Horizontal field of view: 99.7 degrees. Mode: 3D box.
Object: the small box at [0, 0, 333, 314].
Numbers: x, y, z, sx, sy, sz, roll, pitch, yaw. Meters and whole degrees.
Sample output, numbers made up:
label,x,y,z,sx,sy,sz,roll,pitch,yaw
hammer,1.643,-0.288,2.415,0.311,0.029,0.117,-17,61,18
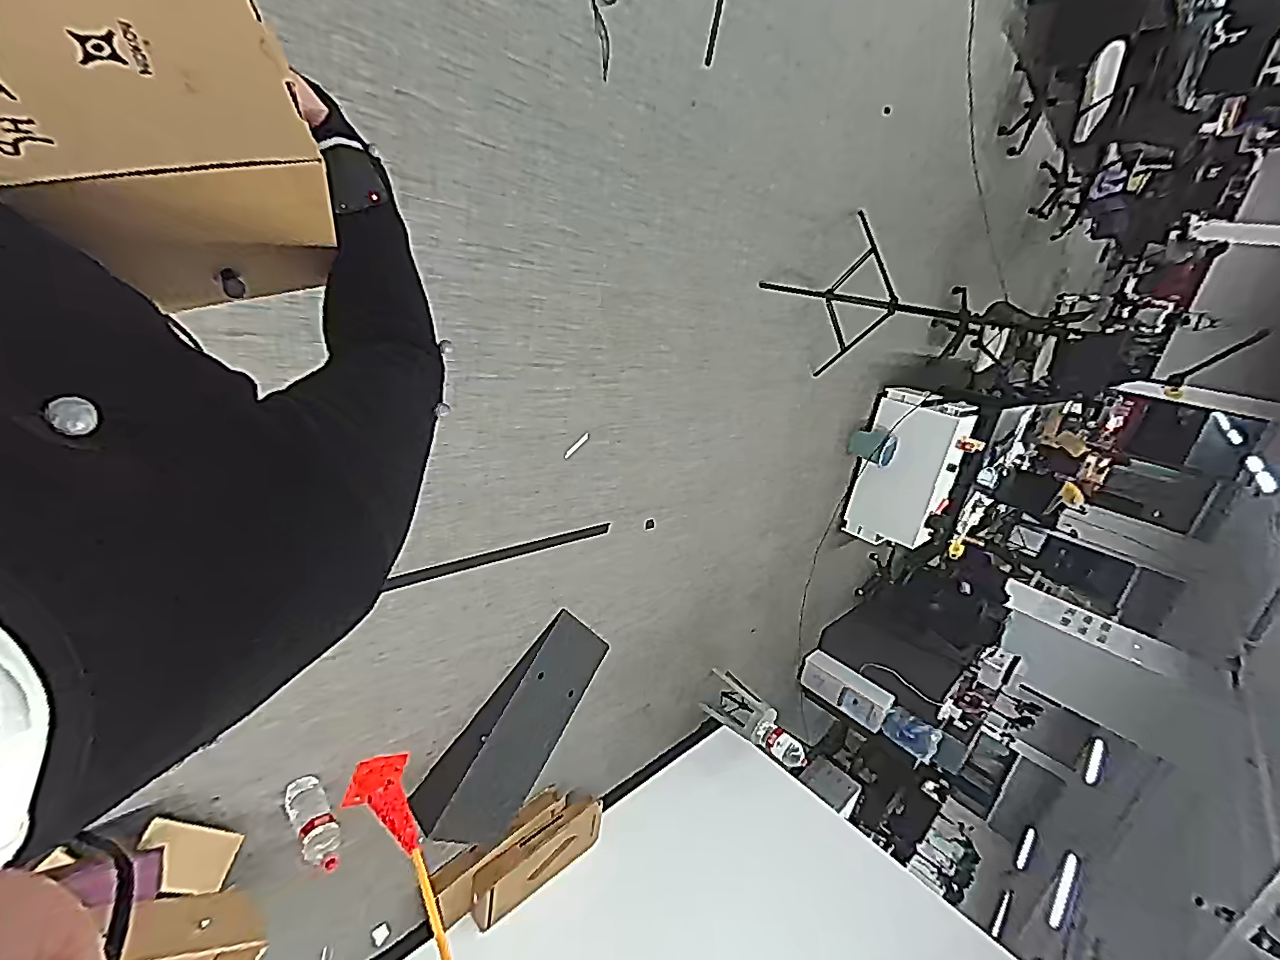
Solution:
label,x,y,z,sx,sy,sz,roll,pitch,yaw
small box,-0.361,-0.254,0.423,0.179,0.176,0.168,-24,89,-27
